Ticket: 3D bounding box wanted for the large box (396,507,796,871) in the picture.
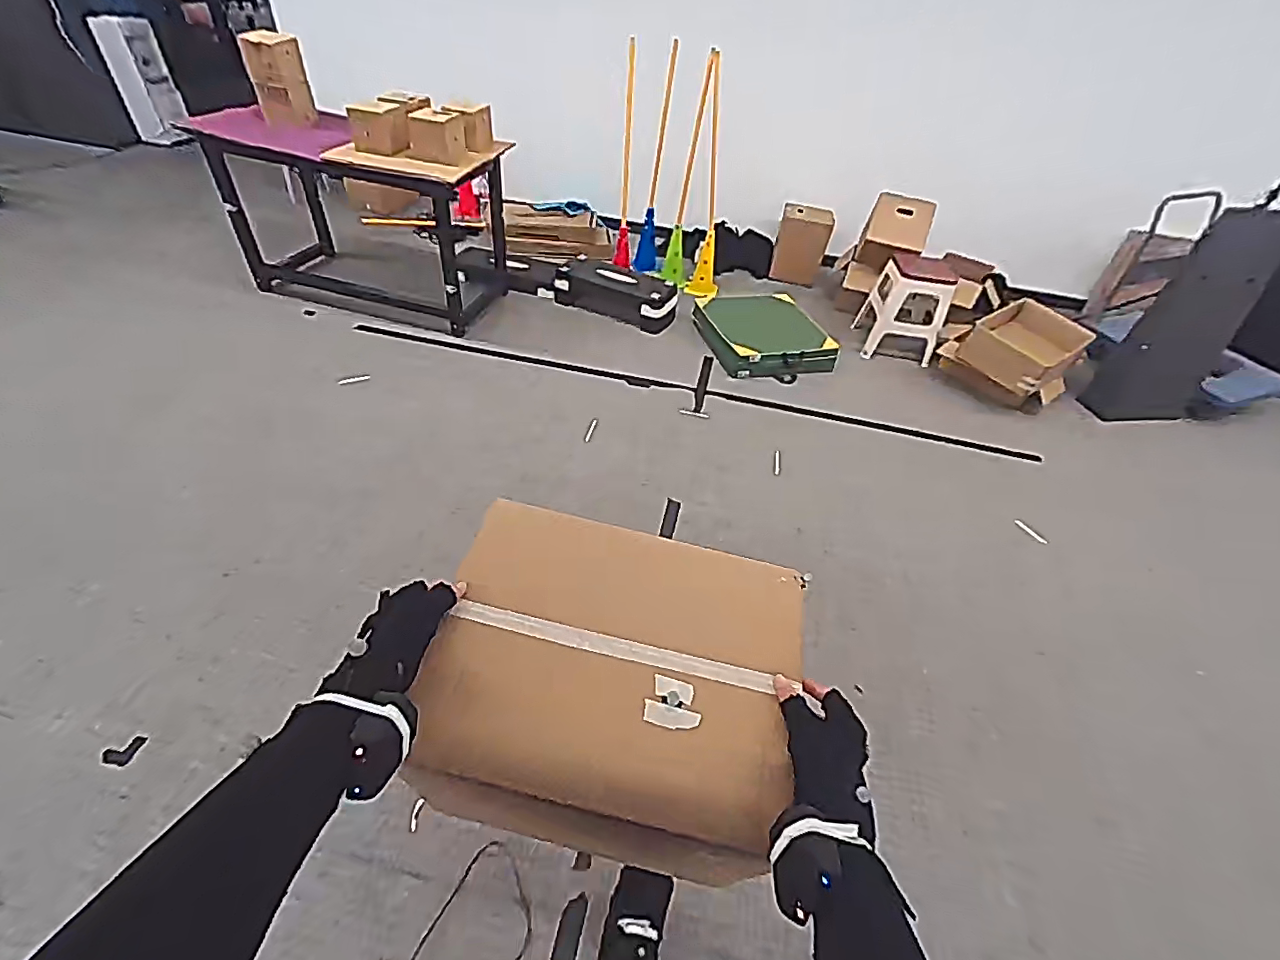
[{"bbox_3d":[-0.040,0.284,0.725,0.408,0.320,0.320,13,50,2],"label":"large box"}]
